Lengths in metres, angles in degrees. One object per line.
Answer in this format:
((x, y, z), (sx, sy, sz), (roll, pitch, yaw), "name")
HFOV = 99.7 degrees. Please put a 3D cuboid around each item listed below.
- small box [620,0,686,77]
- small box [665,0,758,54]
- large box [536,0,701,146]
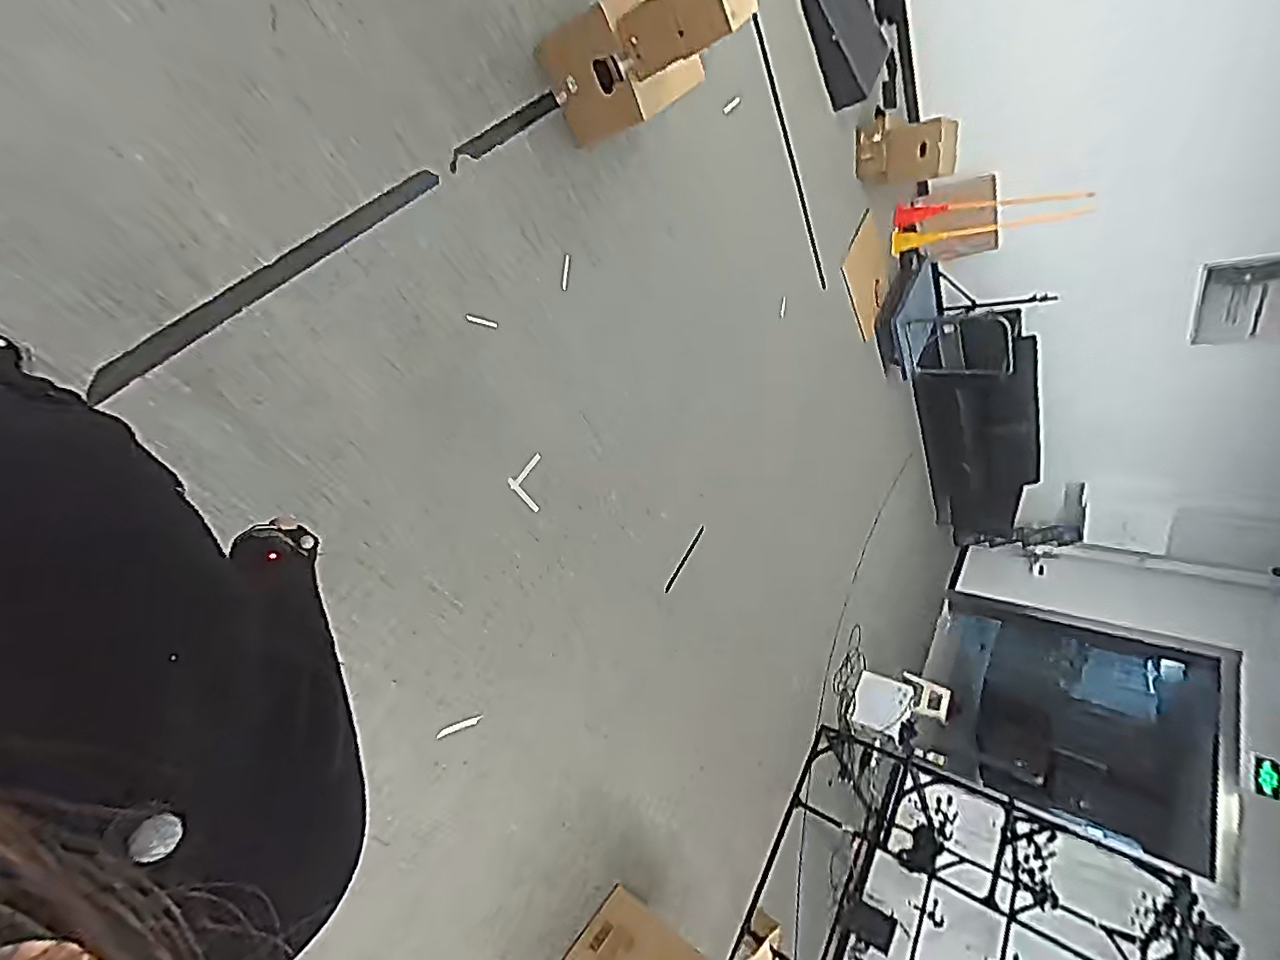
((0.072, -1.327, 1.578), (0.179, 0.176, 0.168), (-53, 129, -27), "small box")
((0.191, -1.311, 1.467), (0.179, 0.176, 0.168), (-57, 130, -26), "small box")
((-0.063, -1.385, 1.786), (0.408, 0.320, 0.320), (-53, 132, -29), "large box")
